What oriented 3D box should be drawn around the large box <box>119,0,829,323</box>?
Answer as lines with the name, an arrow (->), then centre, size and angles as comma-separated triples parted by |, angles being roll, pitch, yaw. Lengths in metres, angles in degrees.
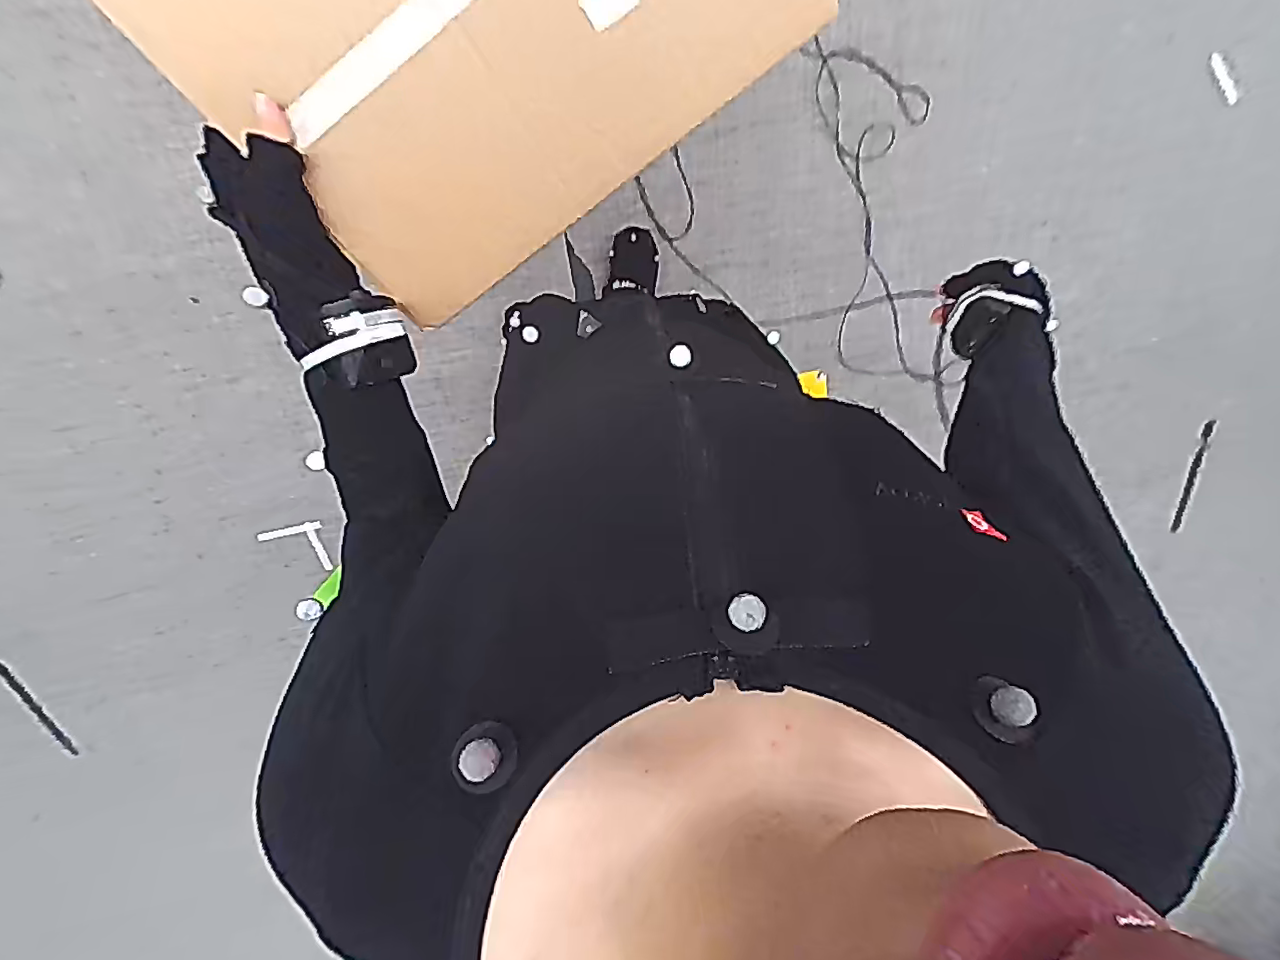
large box -> -0.132, -0.417, 0.466 | 0.408, 0.320, 0.320 | -34, 127, 8

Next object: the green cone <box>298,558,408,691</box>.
green cone -> -0.801, 0.407, 1.435 | 0.200, 0.368, 0.202 | 40, 105, -20
